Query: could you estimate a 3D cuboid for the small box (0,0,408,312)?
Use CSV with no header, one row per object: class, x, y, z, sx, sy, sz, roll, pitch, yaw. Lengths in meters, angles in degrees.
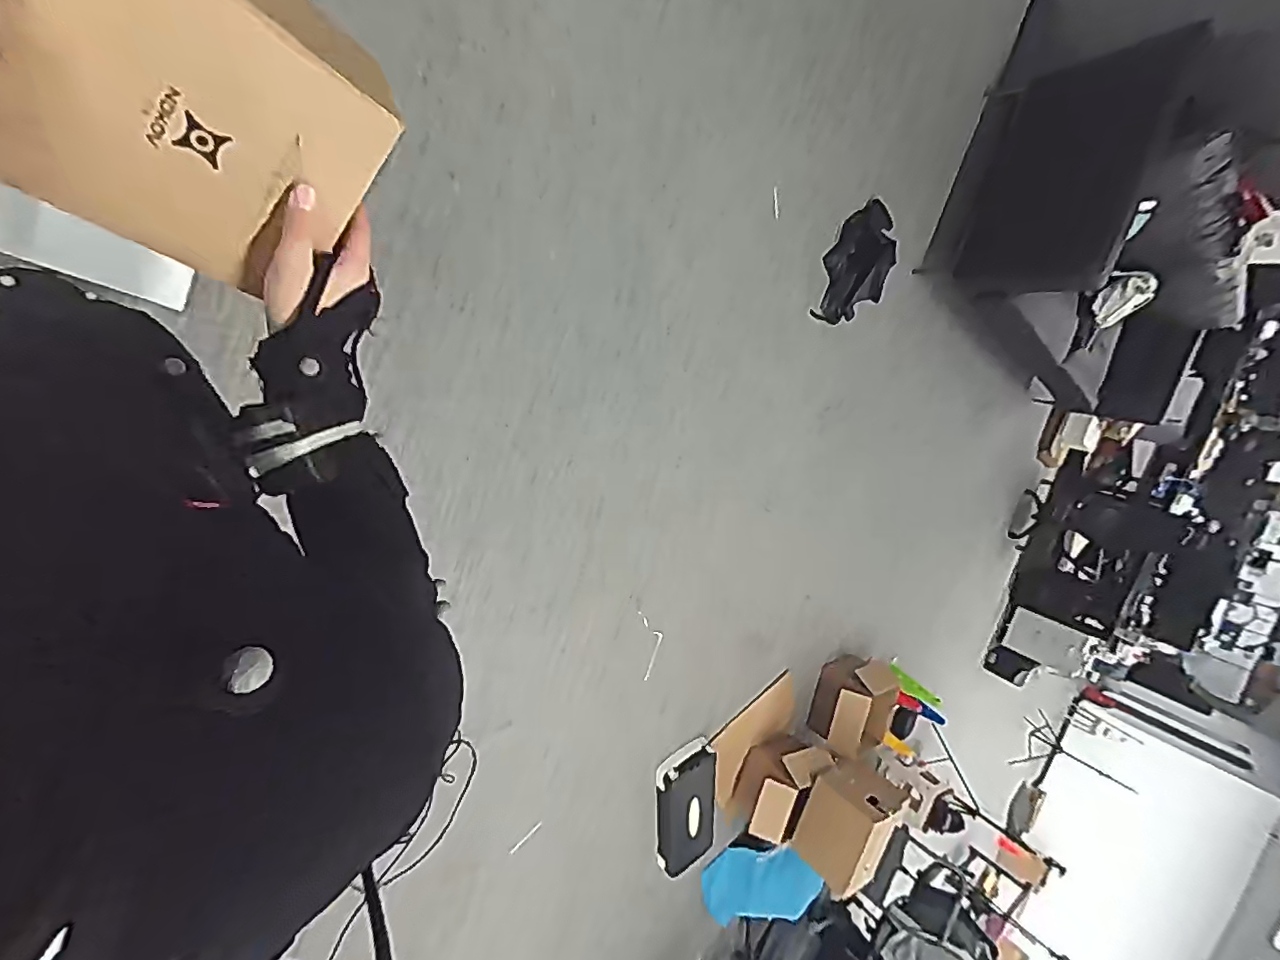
small box,-0.288,-0.256,0.362,0.168,0.176,0.179,-43,143,22
